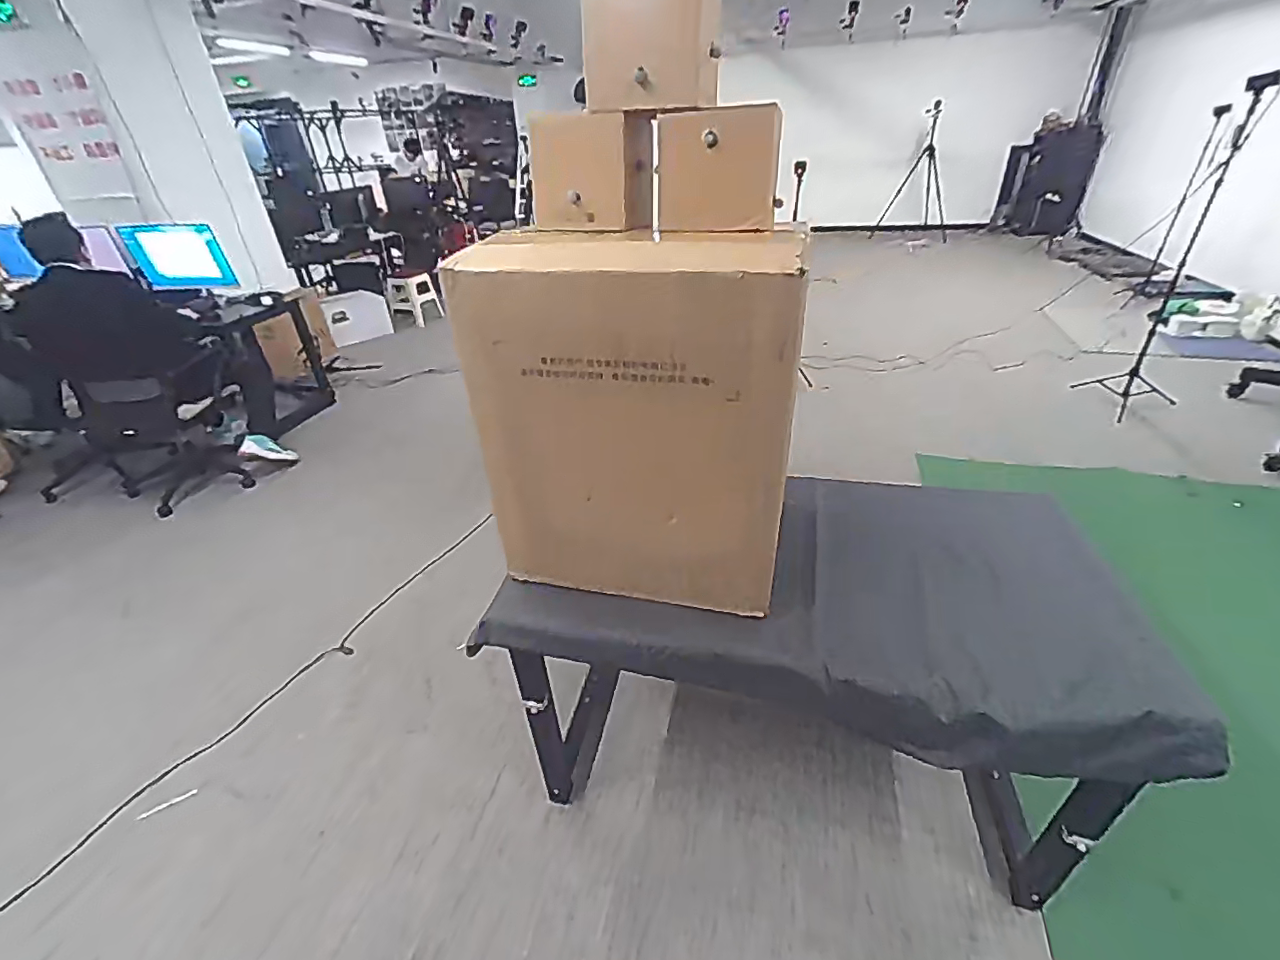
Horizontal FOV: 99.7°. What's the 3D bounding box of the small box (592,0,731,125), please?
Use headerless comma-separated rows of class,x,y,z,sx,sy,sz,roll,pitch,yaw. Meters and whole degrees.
small box,0.037,-0.658,0.840,0.179,0.176,0.168,8,30,15

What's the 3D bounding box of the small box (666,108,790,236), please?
small box,0.145,-0.498,0.889,0.179,0.176,0.168,7,31,14
